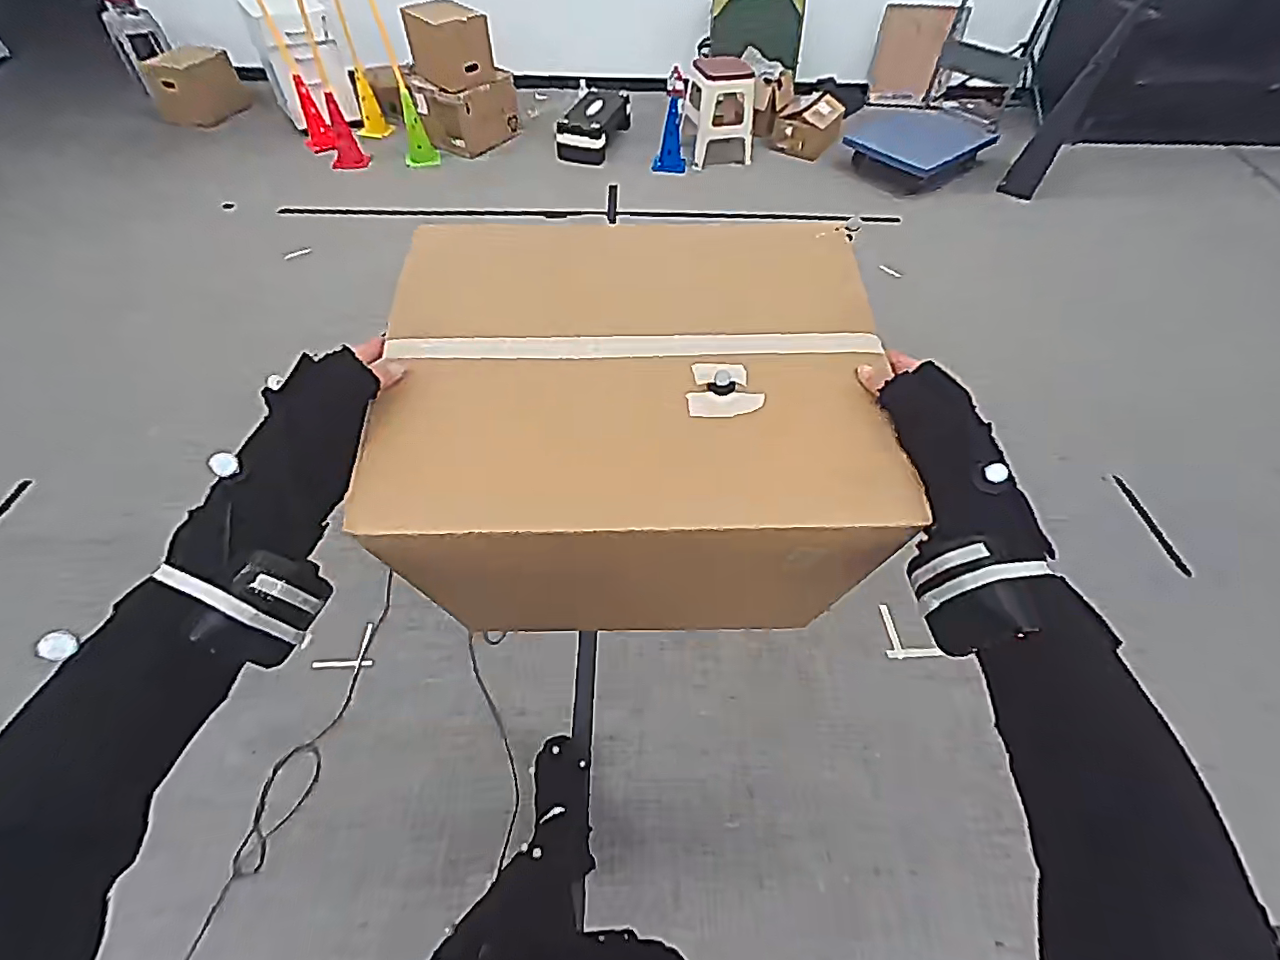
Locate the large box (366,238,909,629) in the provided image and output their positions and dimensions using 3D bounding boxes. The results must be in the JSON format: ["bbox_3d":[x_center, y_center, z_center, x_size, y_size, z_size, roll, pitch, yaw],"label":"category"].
[{"bbox_3d":[-0.006,-0.031,0.590,0.408,0.320,0.320,0,62,-1],"label":"large box"}]
